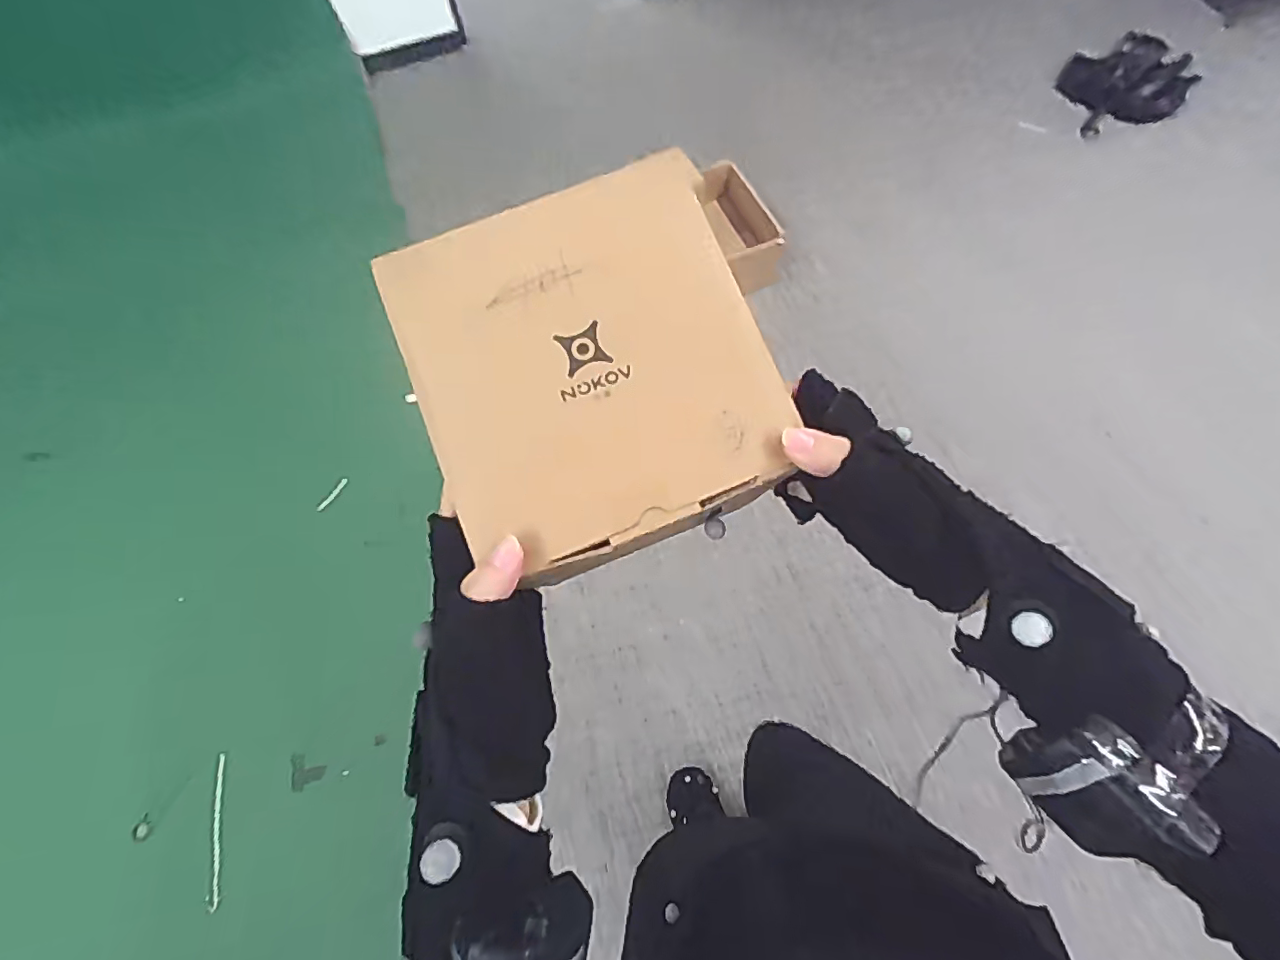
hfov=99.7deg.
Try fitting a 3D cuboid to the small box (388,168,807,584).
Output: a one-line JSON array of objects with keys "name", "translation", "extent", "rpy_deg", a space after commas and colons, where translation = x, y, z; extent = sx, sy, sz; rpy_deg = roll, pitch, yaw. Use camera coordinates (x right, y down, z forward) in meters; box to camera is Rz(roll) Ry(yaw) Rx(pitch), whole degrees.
[{"name": "small box", "translation": [-0.023, -0.045, 0.346], "extent": [0.168, 0.176, 0.179], "rpy_deg": [-22, 79, -5]}]

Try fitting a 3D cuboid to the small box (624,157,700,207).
[{"name": "small box", "translation": [0.067, -0.784, 1.567], "extent": [0.168, 0.176, 0.179], "rpy_deg": [-22, 65, -6]}]
